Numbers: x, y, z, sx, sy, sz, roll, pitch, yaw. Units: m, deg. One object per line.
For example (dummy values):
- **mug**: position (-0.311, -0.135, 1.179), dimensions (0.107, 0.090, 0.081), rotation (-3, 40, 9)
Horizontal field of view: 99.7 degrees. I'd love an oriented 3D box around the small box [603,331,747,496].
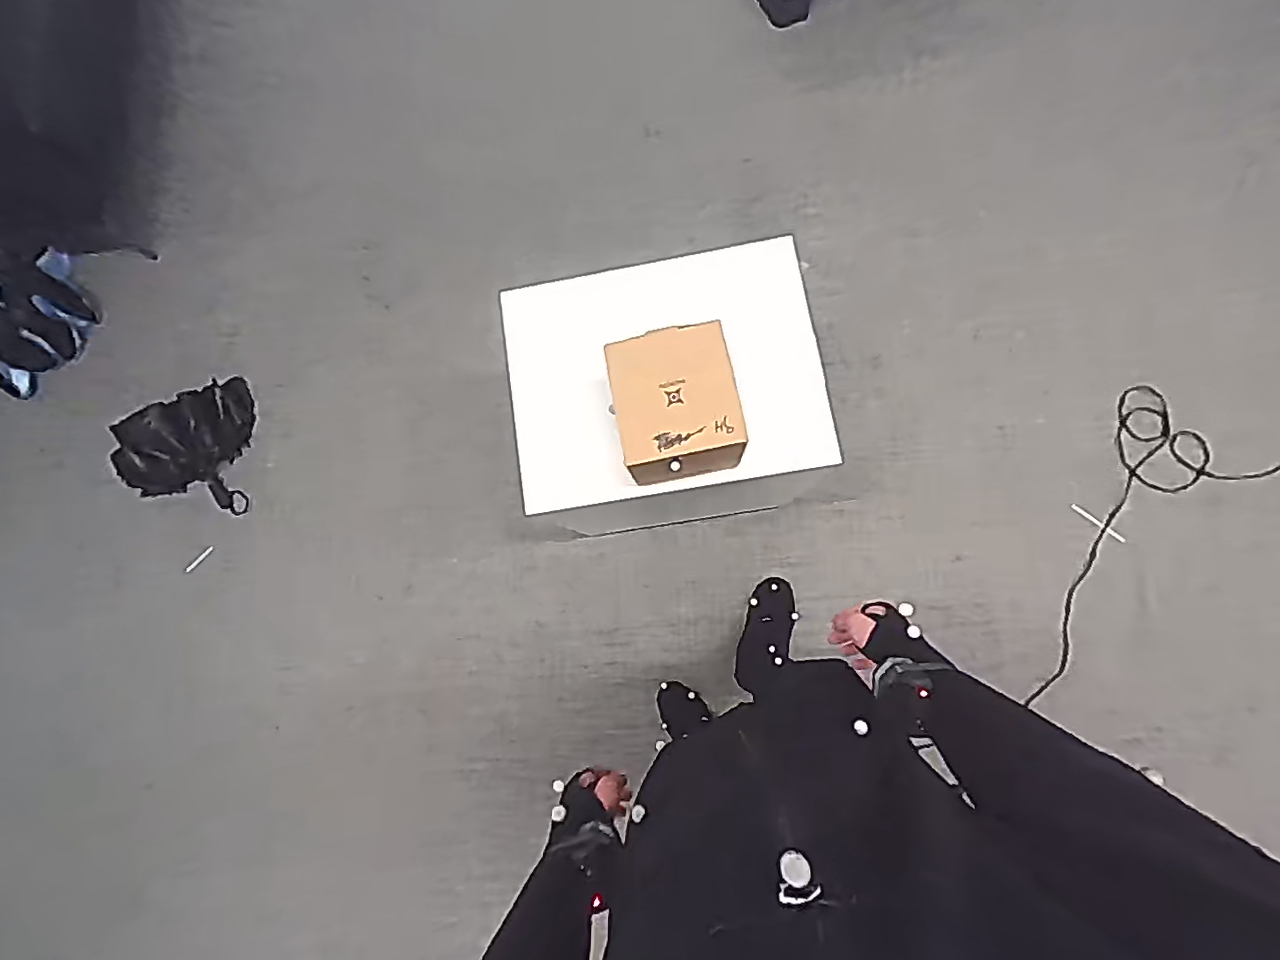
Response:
- **small box**: position (0.050, -0.088, 0.795), dimensions (0.168, 0.176, 0.179), rotation (-13, 78, 4)
